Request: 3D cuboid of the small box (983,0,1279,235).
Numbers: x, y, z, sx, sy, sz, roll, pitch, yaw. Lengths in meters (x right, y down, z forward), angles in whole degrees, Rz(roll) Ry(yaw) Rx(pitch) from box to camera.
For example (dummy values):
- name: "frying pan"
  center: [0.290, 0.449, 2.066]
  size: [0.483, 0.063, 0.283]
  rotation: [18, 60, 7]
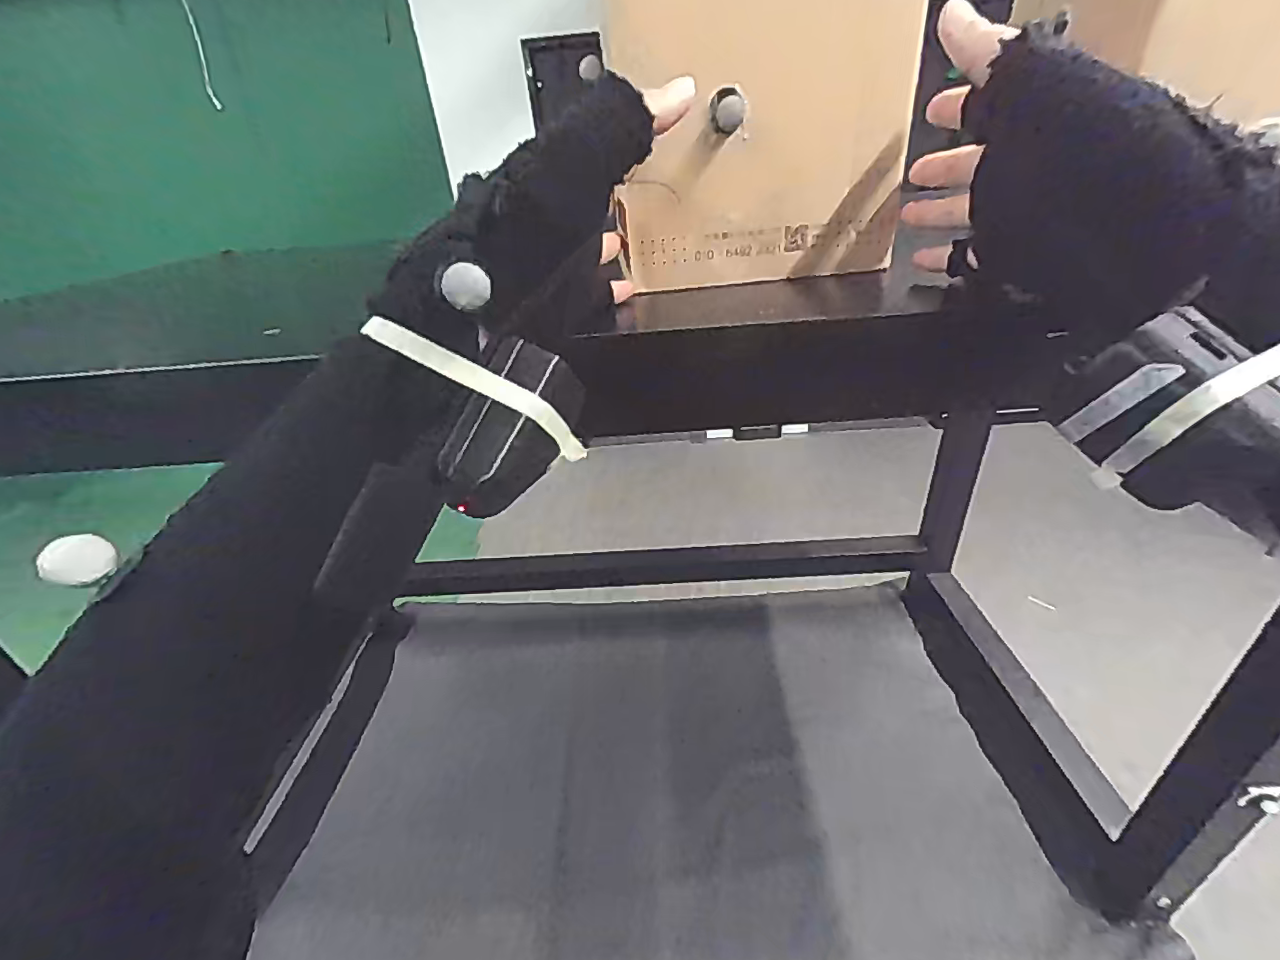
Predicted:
- name: "small box"
  center: [0.358, -0.262, 0.352]
  size: [0.168, 0.176, 0.179]
  rotation: [-1, 31, 8]

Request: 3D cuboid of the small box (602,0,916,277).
- name: "small box"
  center: [0.065, -0.239, 0.366]
  size: [0.168, 0.176, 0.179]
  rotation: [-6, 30, -1]
